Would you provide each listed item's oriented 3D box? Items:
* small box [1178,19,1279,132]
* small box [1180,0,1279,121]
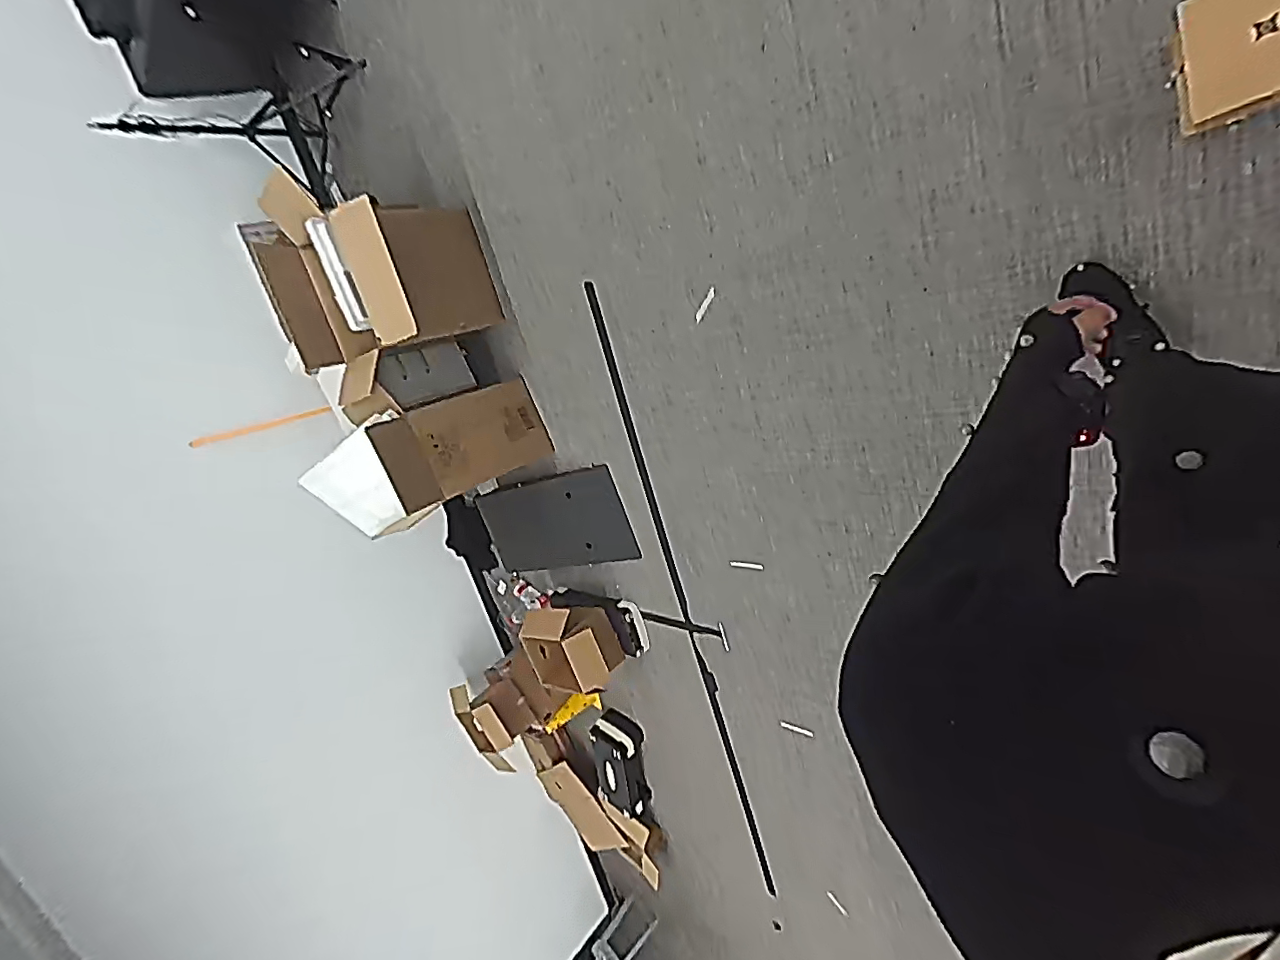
[{"bbox_3d":[0.996,-0.695,0.877,0.168,0.176,0.179,-5,110,47],"label":"small box"},{"bbox_3d":[0.896,-0.635,0.761,0.179,0.176,0.168,-7,108,48],"label":"small box"}]
